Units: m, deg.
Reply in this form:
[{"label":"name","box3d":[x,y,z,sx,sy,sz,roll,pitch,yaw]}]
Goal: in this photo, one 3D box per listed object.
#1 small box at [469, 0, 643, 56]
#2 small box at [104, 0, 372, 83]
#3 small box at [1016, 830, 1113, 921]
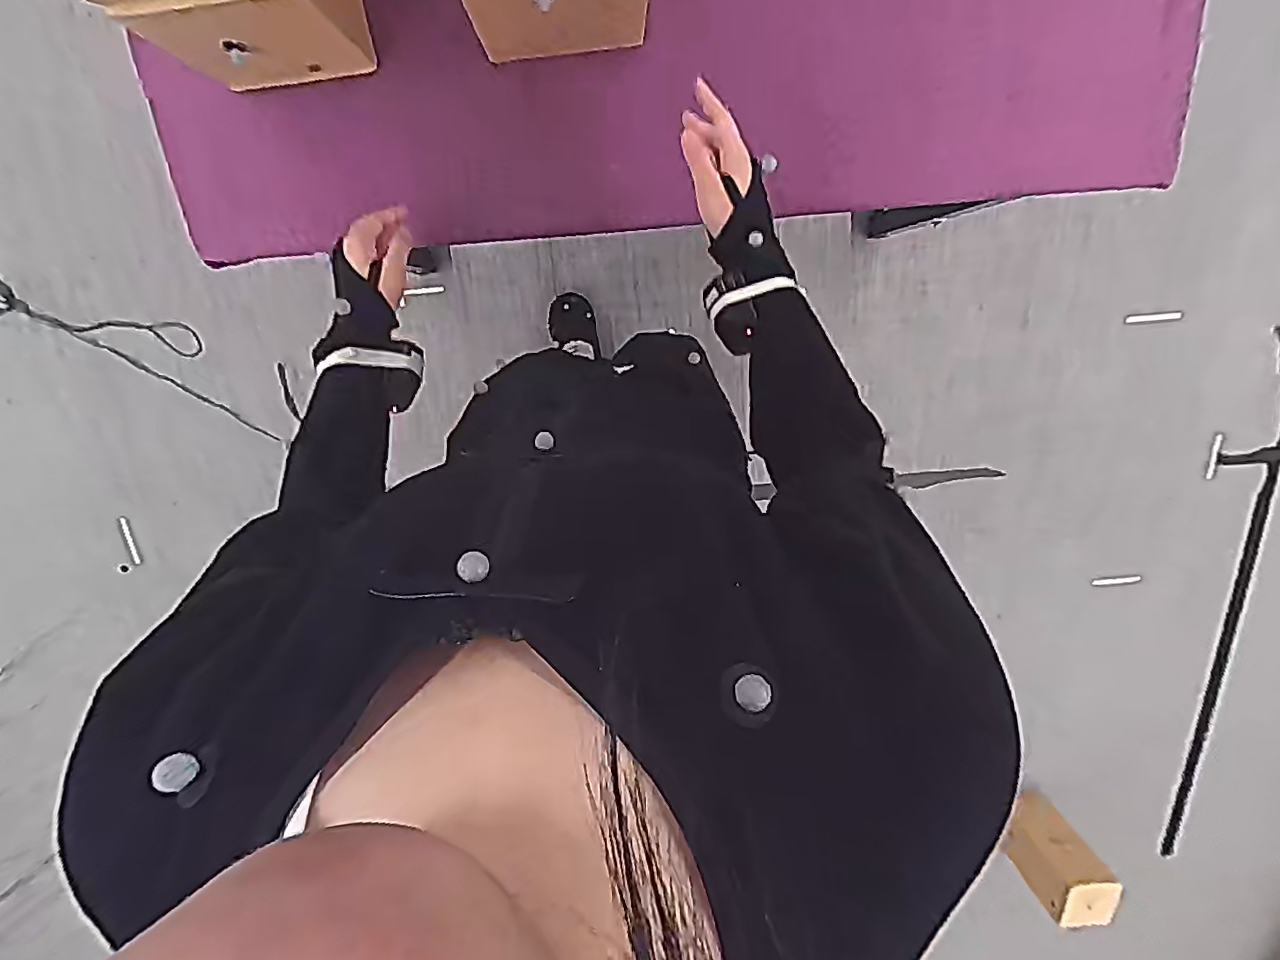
[{"label":"small box","box3d":[-0.088,-0.537,0.511,0.179,0.176,0.168,-8,107,-2]},{"label":"small box","box3d":[-0.381,-0.505,0.506,0.168,0.176,0.179,-9,107,0]},{"label":"small box","box3d":[1.359,1.273,1.745,0.168,0.176,0.179,-2,107,-3]}]
